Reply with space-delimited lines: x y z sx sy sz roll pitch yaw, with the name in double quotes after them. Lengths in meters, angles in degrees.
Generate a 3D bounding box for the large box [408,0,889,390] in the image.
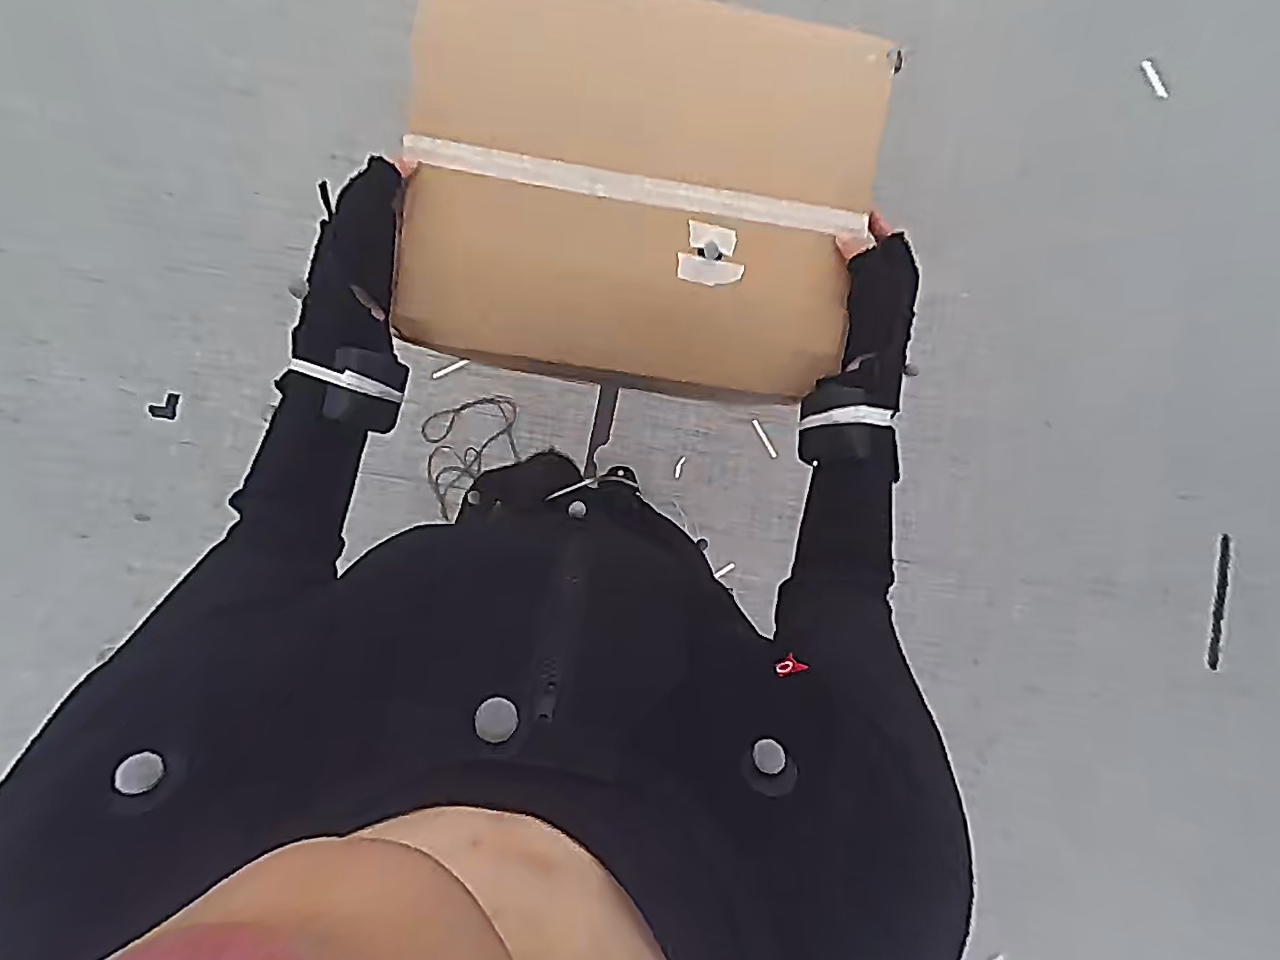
-0.006 -0.285 0.626 0.408 0.320 0.320 8 99 -5 "large box"
